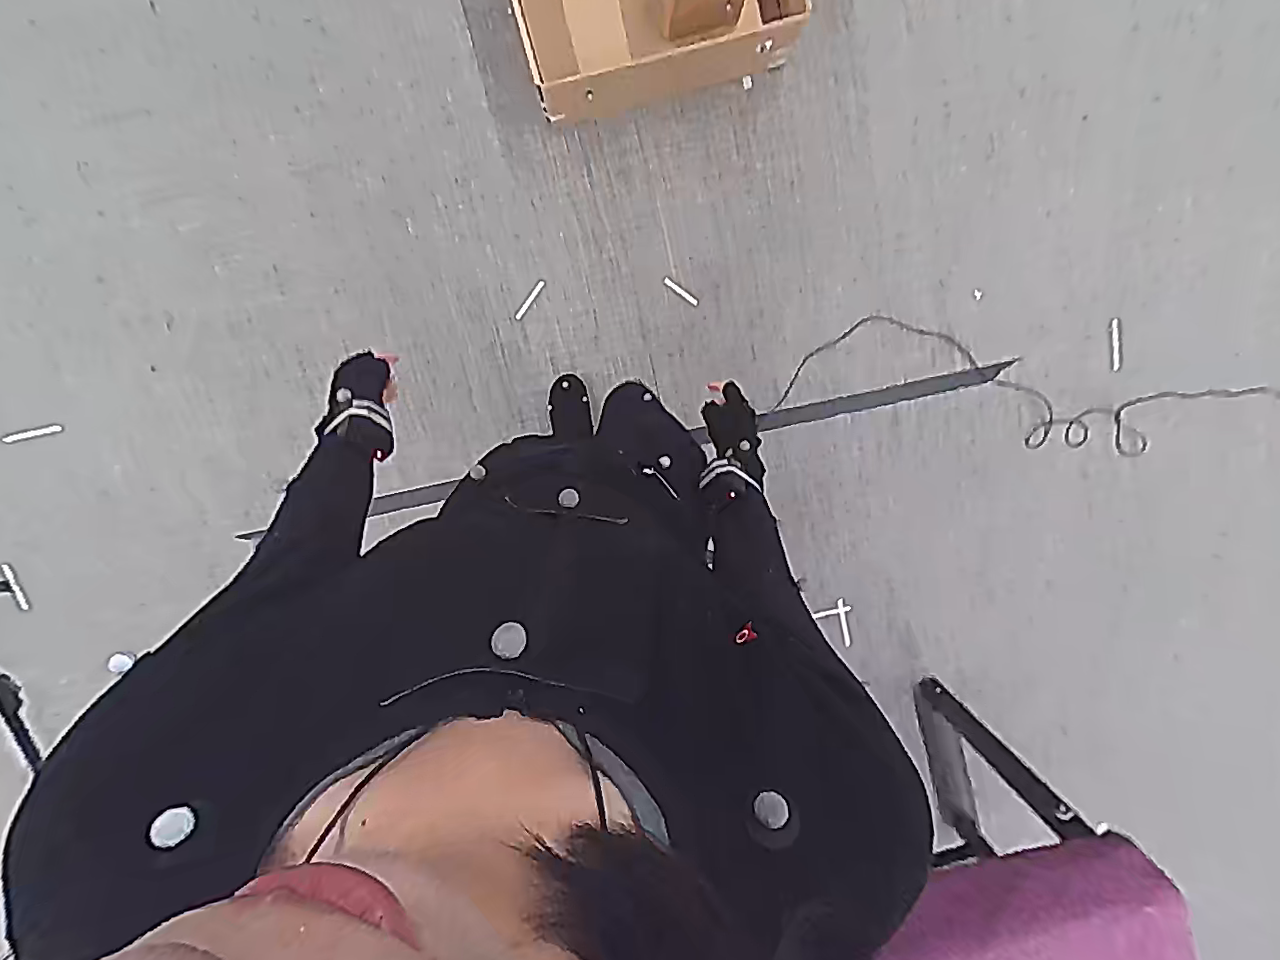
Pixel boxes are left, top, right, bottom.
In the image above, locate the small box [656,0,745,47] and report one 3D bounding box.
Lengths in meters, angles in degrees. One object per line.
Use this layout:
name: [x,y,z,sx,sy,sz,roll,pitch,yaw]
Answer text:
small box: [0.130,-1.108,1.189,0.179,0.176,0.168,-15,100,2]
